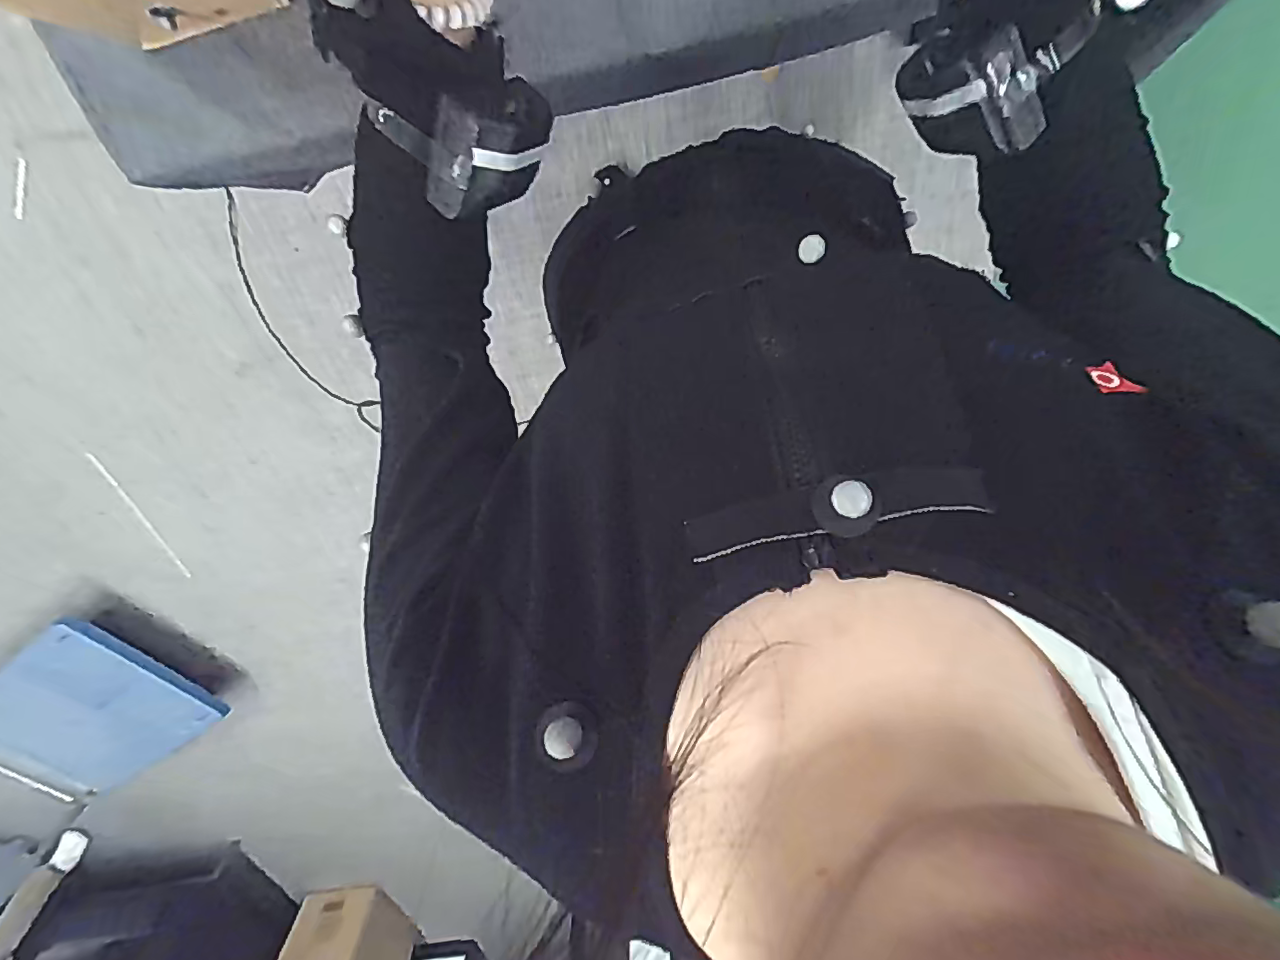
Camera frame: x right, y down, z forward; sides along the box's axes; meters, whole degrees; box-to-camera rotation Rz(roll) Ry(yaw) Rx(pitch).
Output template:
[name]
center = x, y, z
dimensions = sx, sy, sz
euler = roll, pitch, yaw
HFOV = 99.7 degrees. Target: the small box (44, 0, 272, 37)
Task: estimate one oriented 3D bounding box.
[small box]
center = -0.428, -0.479, 0.408
dimensions = 0.168, 0.176, 0.179
euler = -12, 119, 6
